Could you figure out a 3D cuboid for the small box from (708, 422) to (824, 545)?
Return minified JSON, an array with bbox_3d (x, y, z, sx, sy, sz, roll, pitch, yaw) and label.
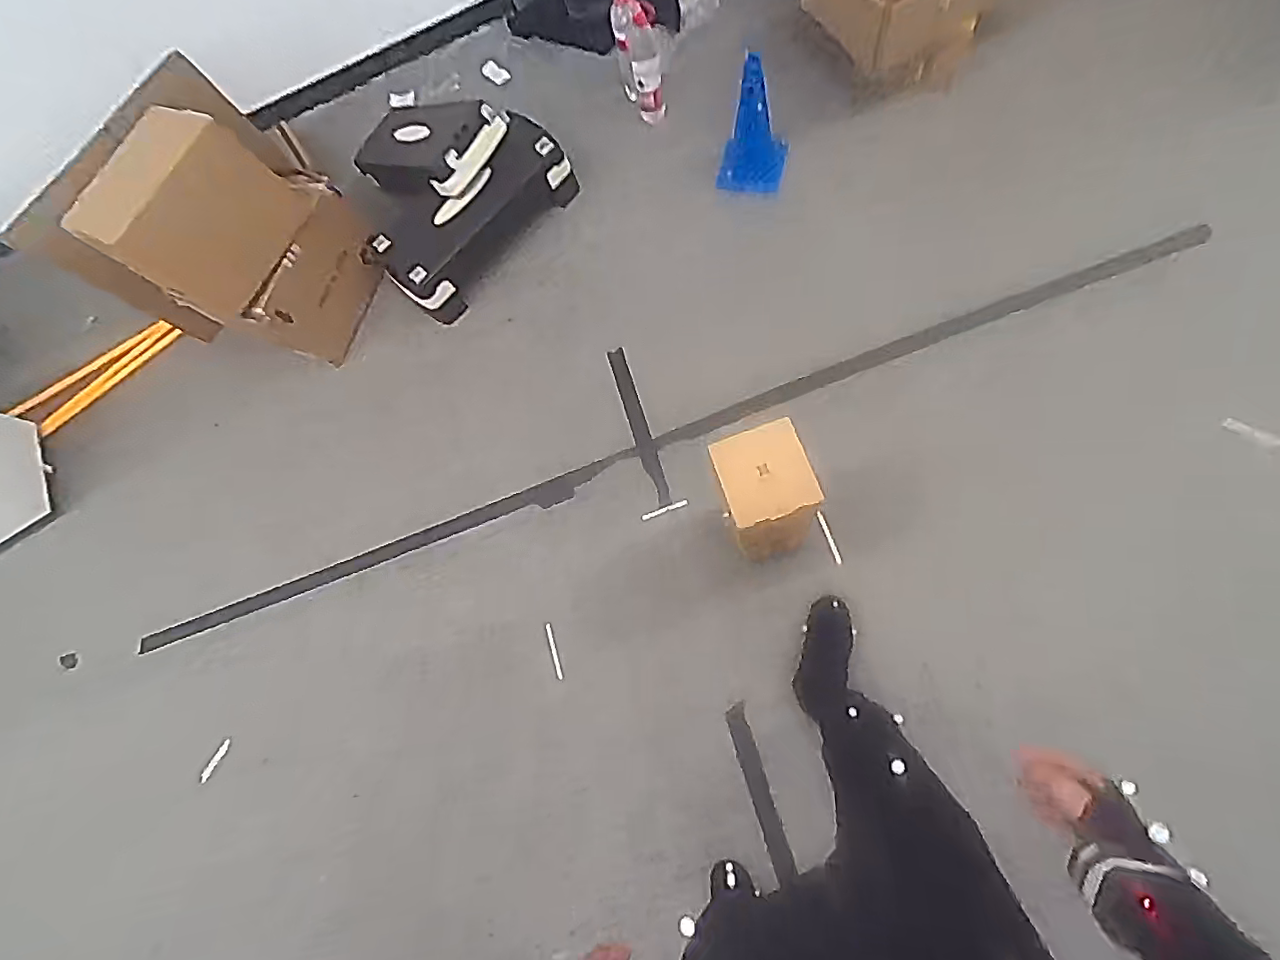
[{"bbox_3d":[0.242,0.015,1.073,0.168,0.176,0.179,-20,73,5],"label":"small box"}]
